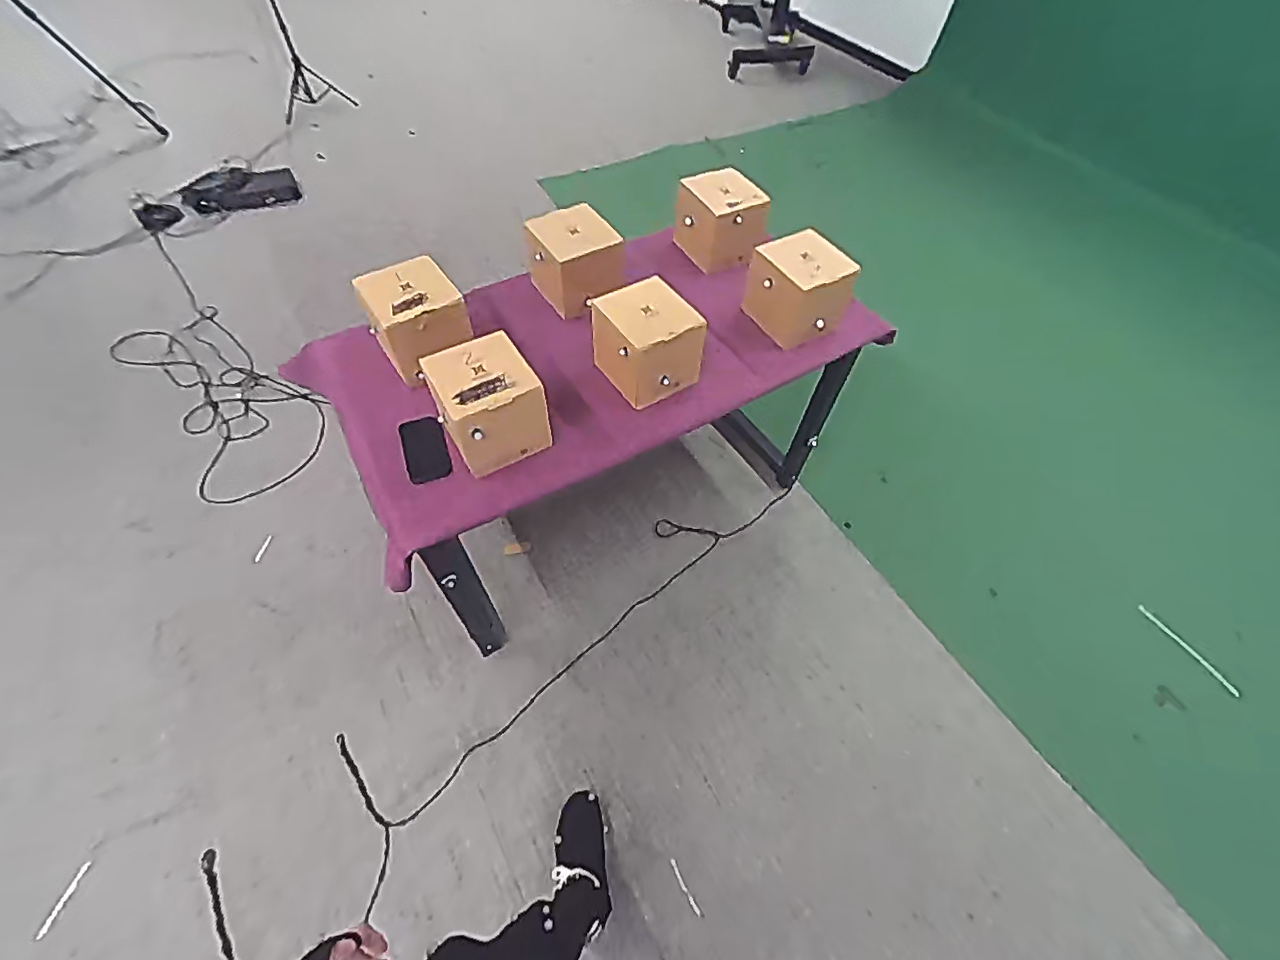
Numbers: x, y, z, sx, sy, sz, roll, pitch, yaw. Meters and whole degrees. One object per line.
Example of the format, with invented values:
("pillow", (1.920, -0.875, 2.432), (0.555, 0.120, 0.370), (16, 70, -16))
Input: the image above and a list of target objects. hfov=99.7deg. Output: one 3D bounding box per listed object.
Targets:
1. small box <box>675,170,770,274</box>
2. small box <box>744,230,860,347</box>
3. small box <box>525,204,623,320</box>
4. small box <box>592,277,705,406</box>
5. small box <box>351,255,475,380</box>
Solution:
("small box", (0.205, -0.669, 1.405), (0.168, 0.176, 0.179), (-24, 60, -17))
("small box", (0.363, -0.440, 1.252), (0.168, 0.176, 0.179), (-25, 60, -17))
("small box", (-0.155, -0.514, 1.282), (0.168, 0.176, 0.179), (-27, 62, -19))
("small box", (0.011, -0.287, 1.134), (0.168, 0.176, 0.179), (-27, 61, -20))
("small box", (-0.469, -0.333, 1.139), (0.168, 0.176, 0.179), (-29, 61, -22))
